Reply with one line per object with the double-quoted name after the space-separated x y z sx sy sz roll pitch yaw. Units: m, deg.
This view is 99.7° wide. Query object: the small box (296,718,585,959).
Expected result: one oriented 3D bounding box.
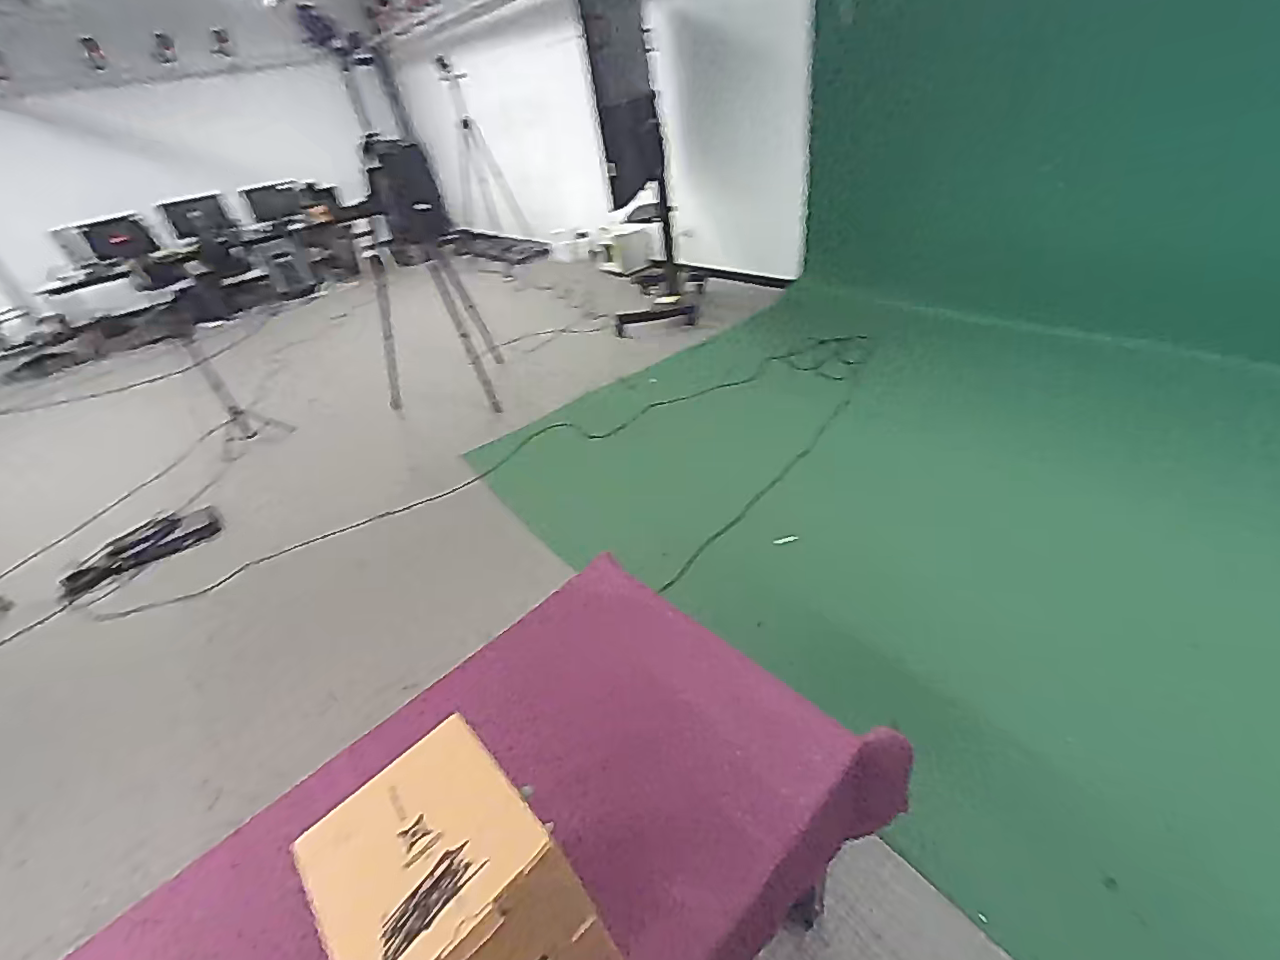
-0.176 0.375 0.507 0.168 0.176 0.179 -35 40 -30 "small box"
